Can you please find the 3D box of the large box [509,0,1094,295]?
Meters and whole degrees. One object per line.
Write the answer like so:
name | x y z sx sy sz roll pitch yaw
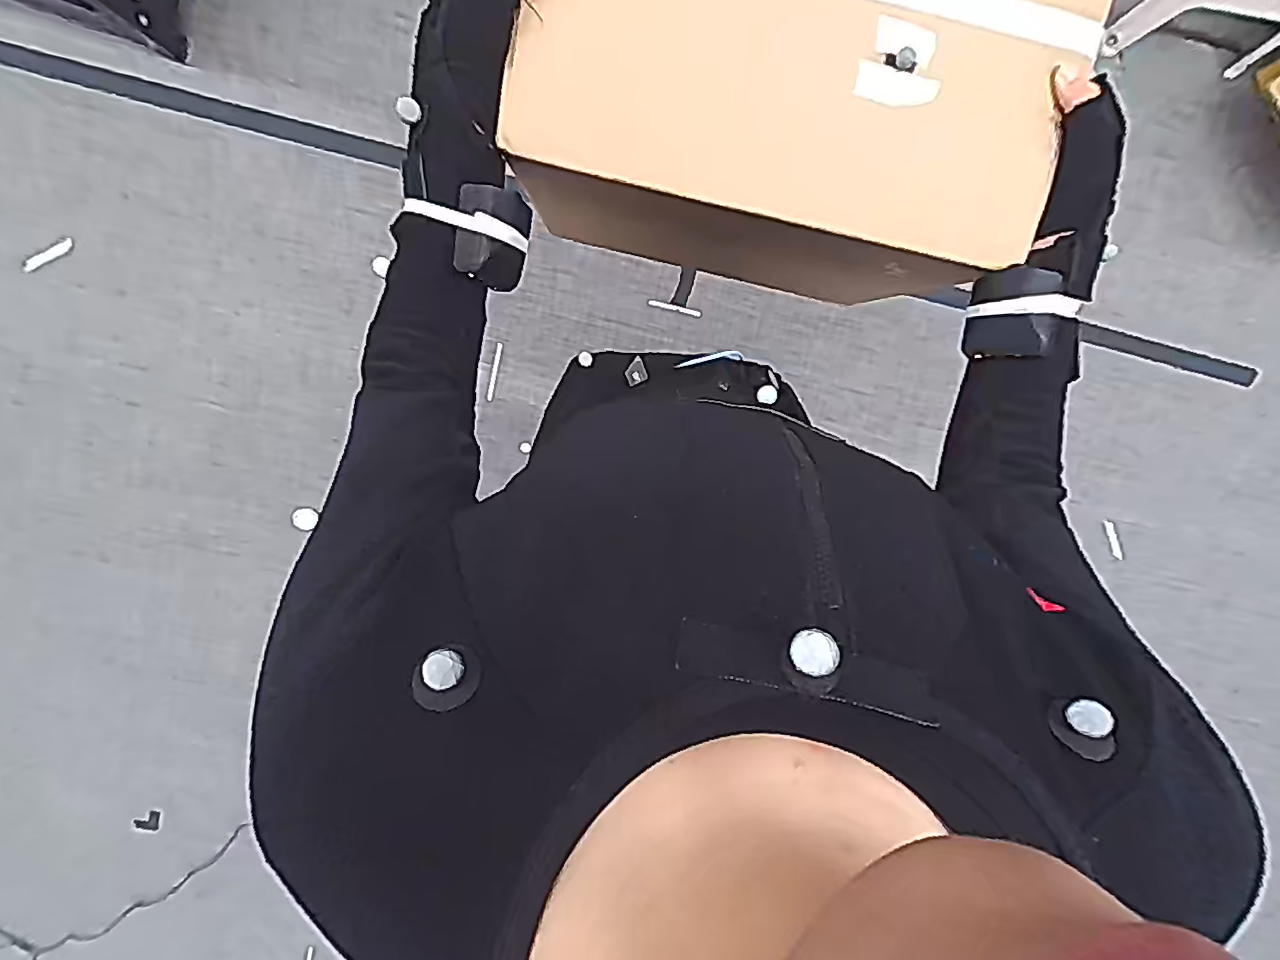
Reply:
large box | 0.116 -0.387 0.522 0.408 0.320 0.320 11 104 -6
